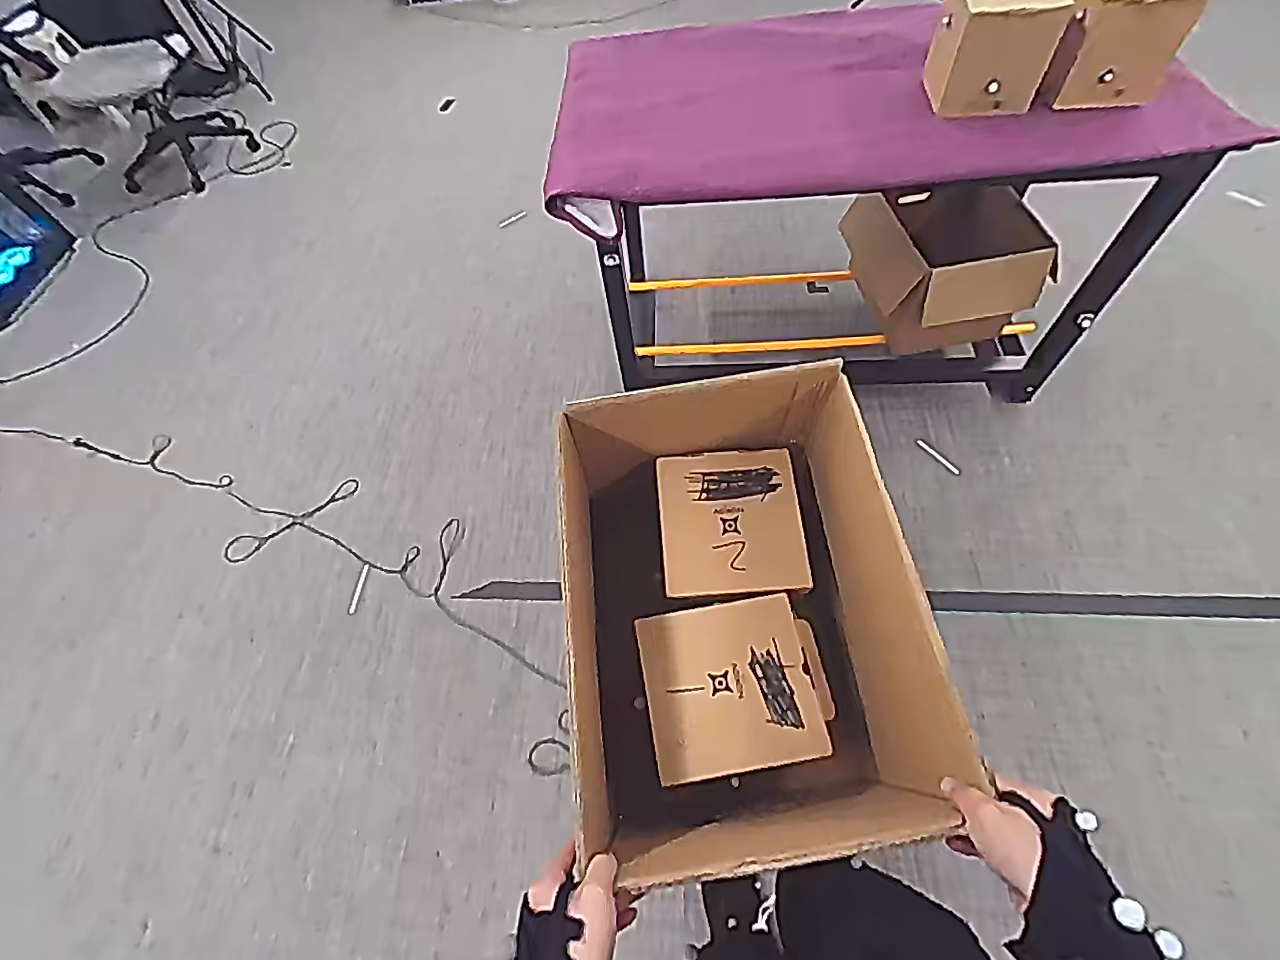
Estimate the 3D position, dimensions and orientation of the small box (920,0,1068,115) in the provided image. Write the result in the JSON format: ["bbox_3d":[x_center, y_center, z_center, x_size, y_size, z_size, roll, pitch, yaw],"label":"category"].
[{"bbox_3d":[0.654,-0.825,1.026,0.168,0.176,0.179,2,59,8],"label":"small box"}]

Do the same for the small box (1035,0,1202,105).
[{"bbox_3d":[0.863,-0.828,1.003,0.168,0.176,0.179,2,59,8],"label":"small box"}]
